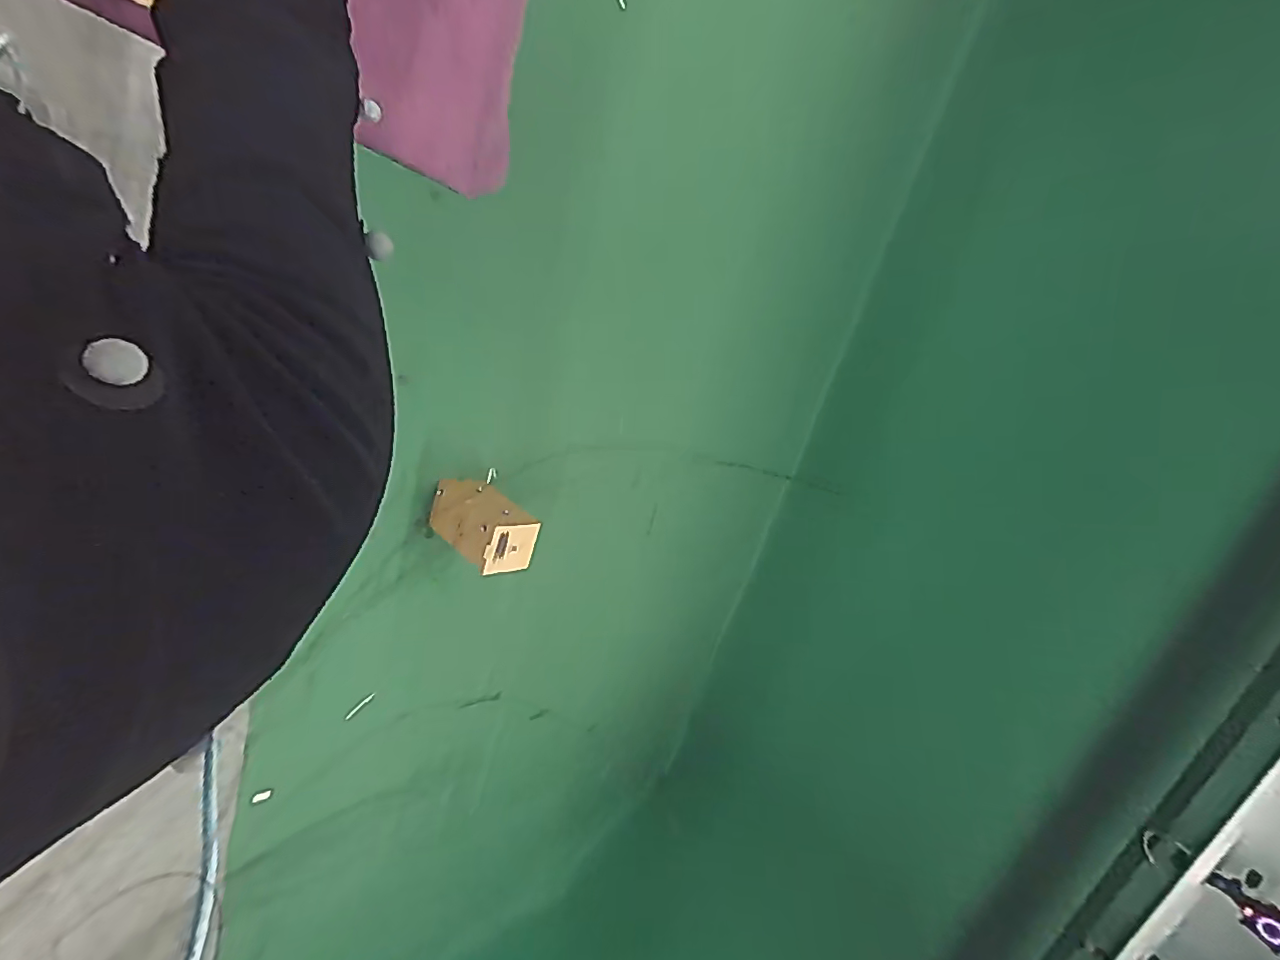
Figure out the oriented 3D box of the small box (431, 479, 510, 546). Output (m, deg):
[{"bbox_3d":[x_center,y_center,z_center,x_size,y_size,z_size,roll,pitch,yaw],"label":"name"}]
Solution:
[{"bbox_3d":[-0.570,0.105,1.804,0.179,0.176,0.168,1,114,-51],"label":"small box"}]
